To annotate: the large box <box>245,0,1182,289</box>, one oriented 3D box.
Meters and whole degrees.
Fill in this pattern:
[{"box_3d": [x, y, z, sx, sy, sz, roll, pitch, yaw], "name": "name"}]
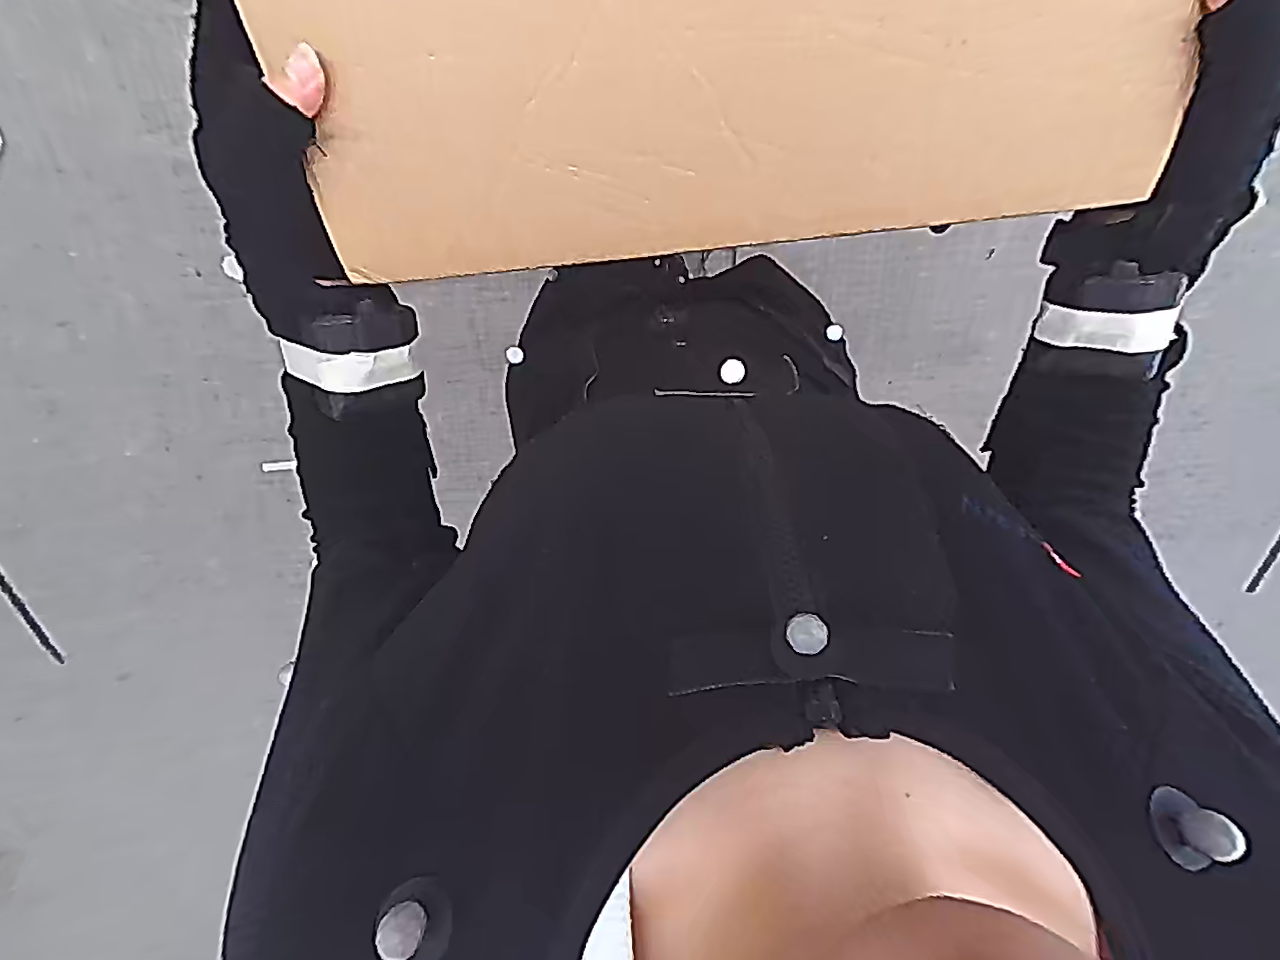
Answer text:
[{"box_3d": [0.028, -0.334, 0.320, 0.408, 0.320, 0.320, -5, 125, 3], "name": "large box"}]
